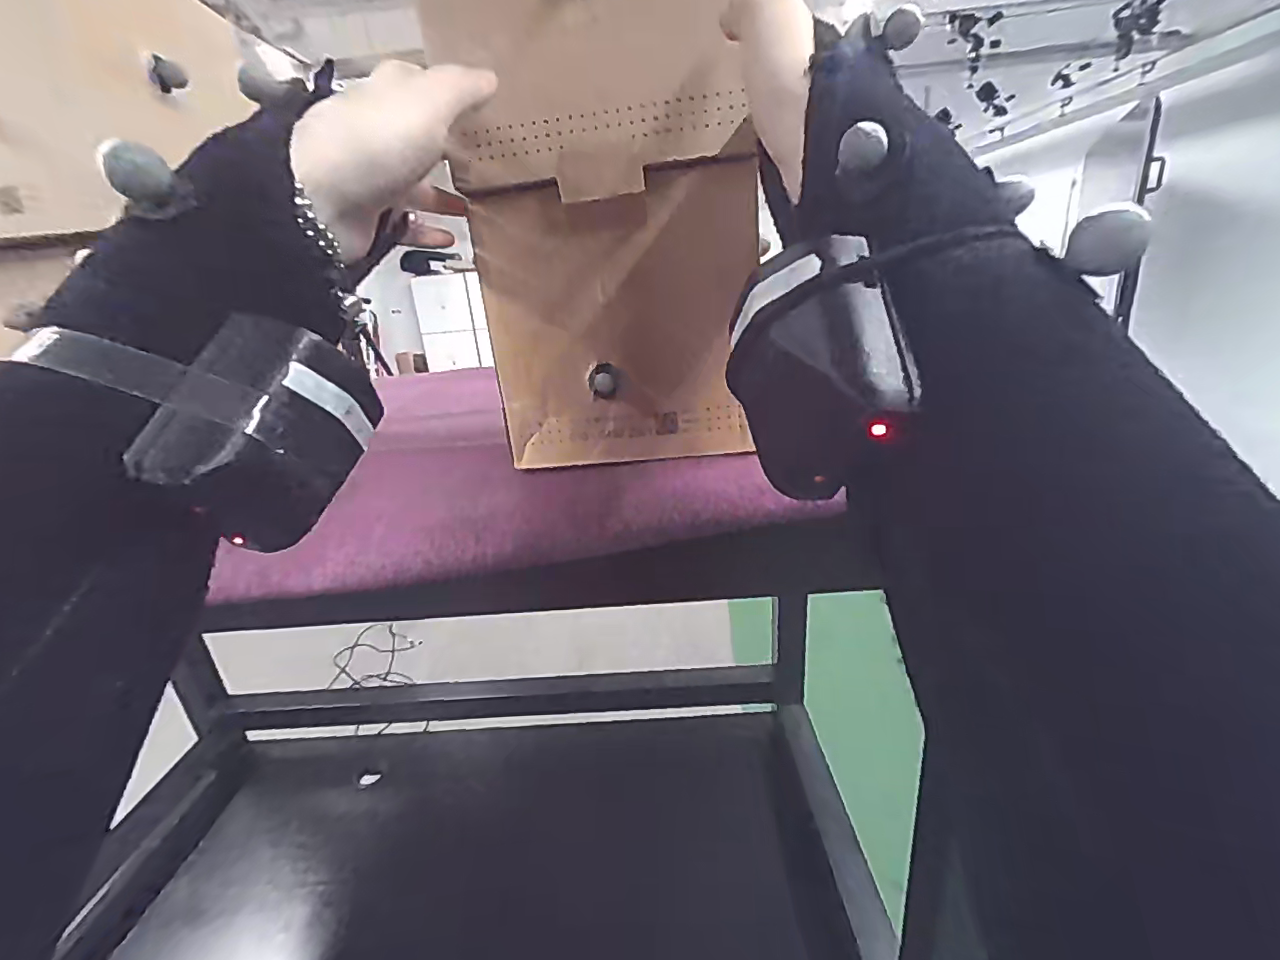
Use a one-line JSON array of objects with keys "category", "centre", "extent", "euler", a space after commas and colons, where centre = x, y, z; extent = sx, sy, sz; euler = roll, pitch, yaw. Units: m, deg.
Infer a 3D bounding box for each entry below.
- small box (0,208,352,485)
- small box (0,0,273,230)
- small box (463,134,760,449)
[{"category": "small box", "centre": [-0.366, -0.100, 0.421], "extent": [0.179, 0.176, 0.168], "euler": [-4, 20, 3]}, {"category": "small box", "centre": [-0.386, -0.249, 0.355], "extent": [0.168, 0.176, 0.179], "euler": [-6, 21, -1]}, {"category": "small box", "centre": [-0.006, -0.126, 0.397], "extent": [0.168, 0.176, 0.179], "euler": [-5, 19, 6]}]
